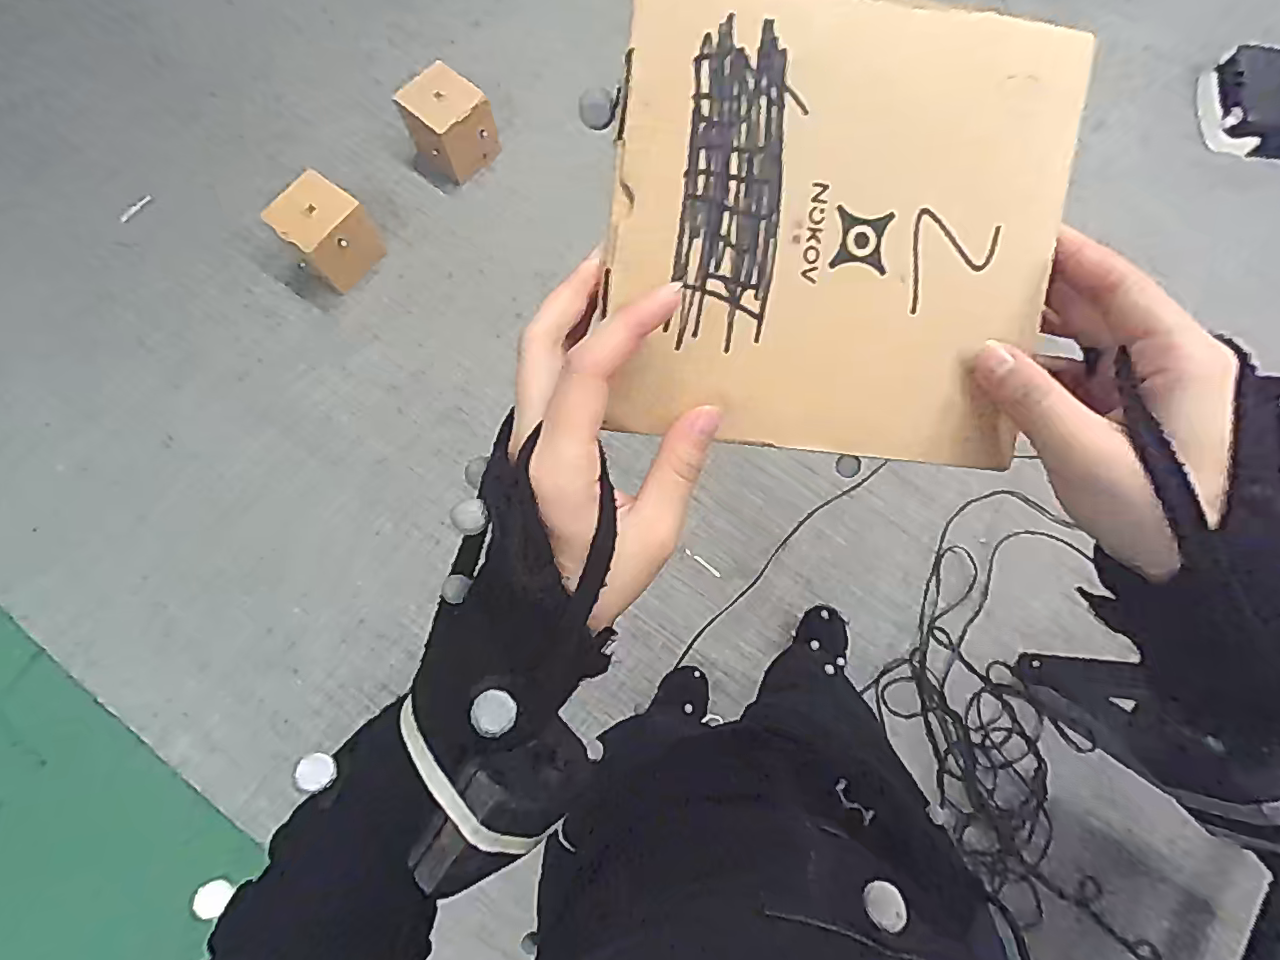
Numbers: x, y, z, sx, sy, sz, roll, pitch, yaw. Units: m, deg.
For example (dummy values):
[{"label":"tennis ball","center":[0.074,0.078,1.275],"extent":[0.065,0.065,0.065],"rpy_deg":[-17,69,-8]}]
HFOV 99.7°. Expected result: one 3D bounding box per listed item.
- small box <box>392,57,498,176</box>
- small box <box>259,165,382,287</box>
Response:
[{"label":"small box","center":[-0.503,-0.945,1.424],"extent":[0.179,0.176,0.168],"rpy_deg":[39,77,9]},{"label":"small box","center":[-0.775,-0.622,1.340],"extent":[0.168,0.176,0.179],"rpy_deg":[36,79,7]}]
